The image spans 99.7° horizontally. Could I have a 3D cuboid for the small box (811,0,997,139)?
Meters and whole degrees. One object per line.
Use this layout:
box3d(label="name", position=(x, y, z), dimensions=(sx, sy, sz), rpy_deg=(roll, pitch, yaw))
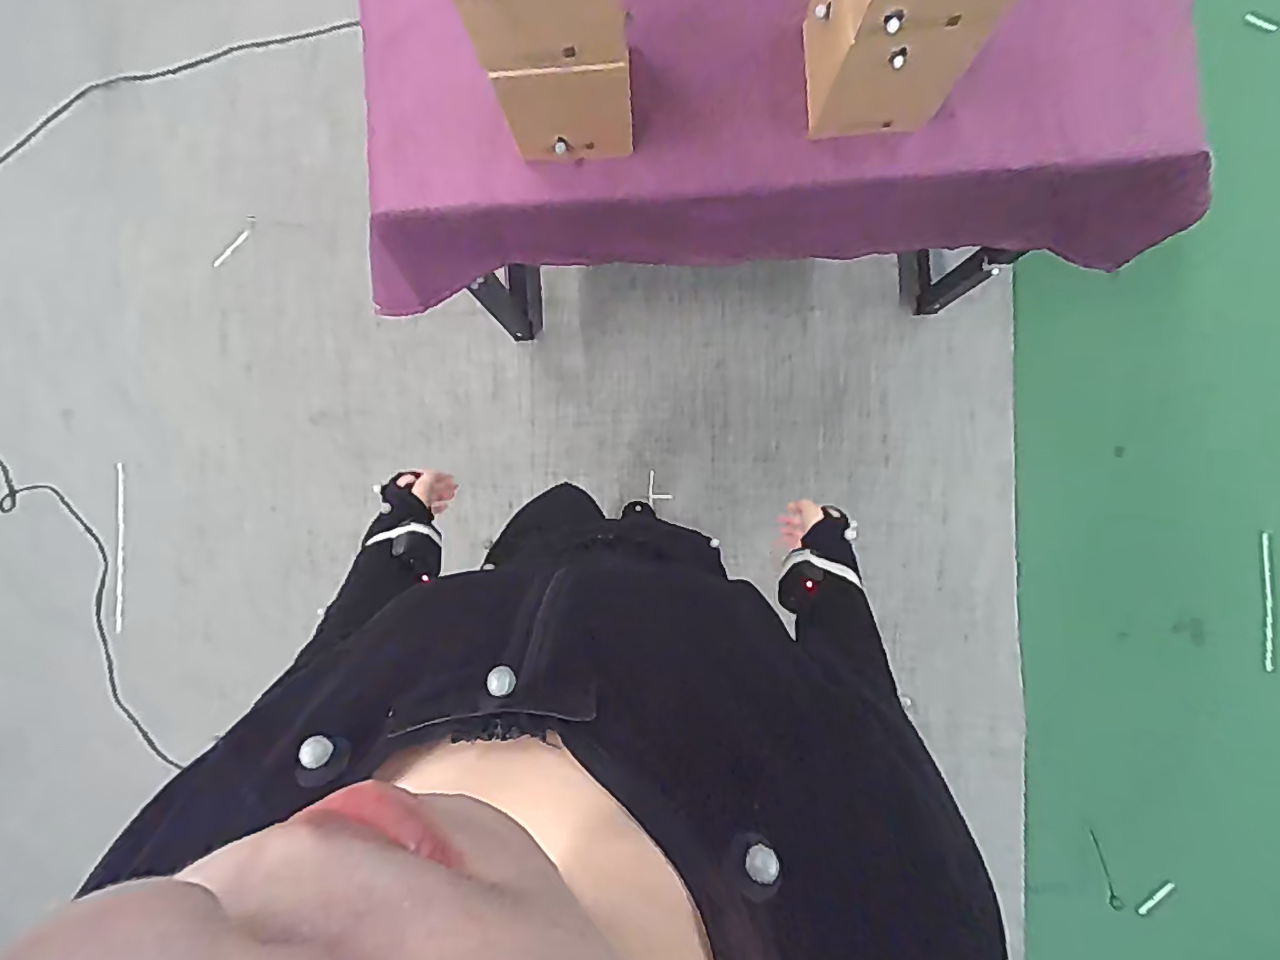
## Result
box3d(label="small box", position=(0.327, -0.586, 0.703), dimensions=(0.168, 0.176, 0.179), rpy_deg=(-2, 88, 3))

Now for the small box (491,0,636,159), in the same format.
box3d(label="small box", position=(-0.092, -0.564, 0.718), dimensions=(0.168, 0.176, 0.179), rpy_deg=(-2, 89, 2))

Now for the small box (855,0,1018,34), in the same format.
box3d(label="small box", position=(0.323, -0.590, 0.540), dimensions=(0.168, 0.176, 0.179), rpy_deg=(-3, 88, 2))
